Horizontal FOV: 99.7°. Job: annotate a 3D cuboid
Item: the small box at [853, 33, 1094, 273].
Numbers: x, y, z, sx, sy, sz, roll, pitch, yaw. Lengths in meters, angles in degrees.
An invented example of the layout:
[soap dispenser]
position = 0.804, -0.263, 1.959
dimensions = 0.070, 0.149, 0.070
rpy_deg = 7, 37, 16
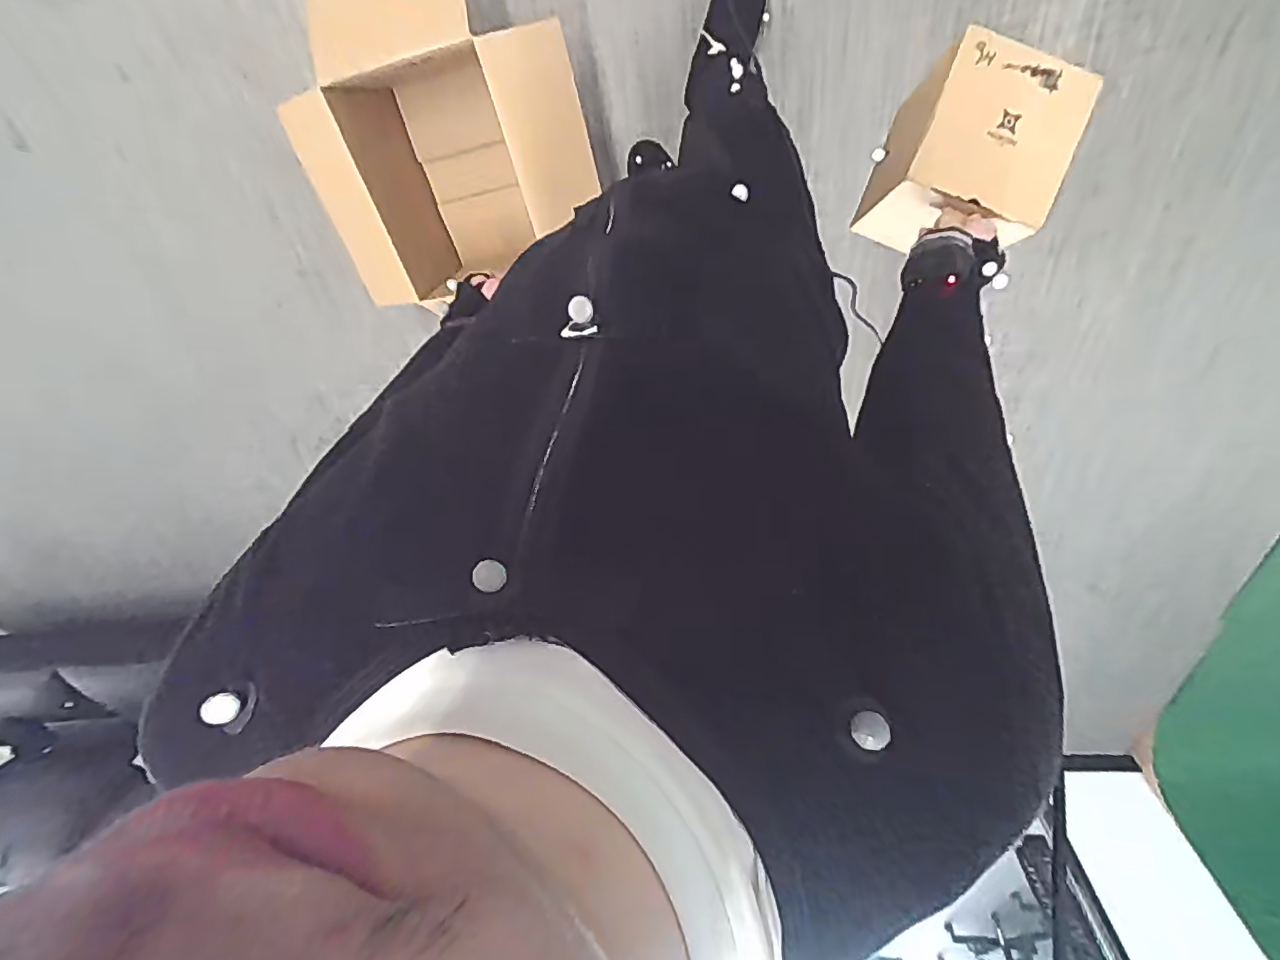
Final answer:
[small box]
position = 0.397, -0.389, 0.682
dimensions = 0.168, 0.176, 0.179
rpy_deg = 22, 95, -3
